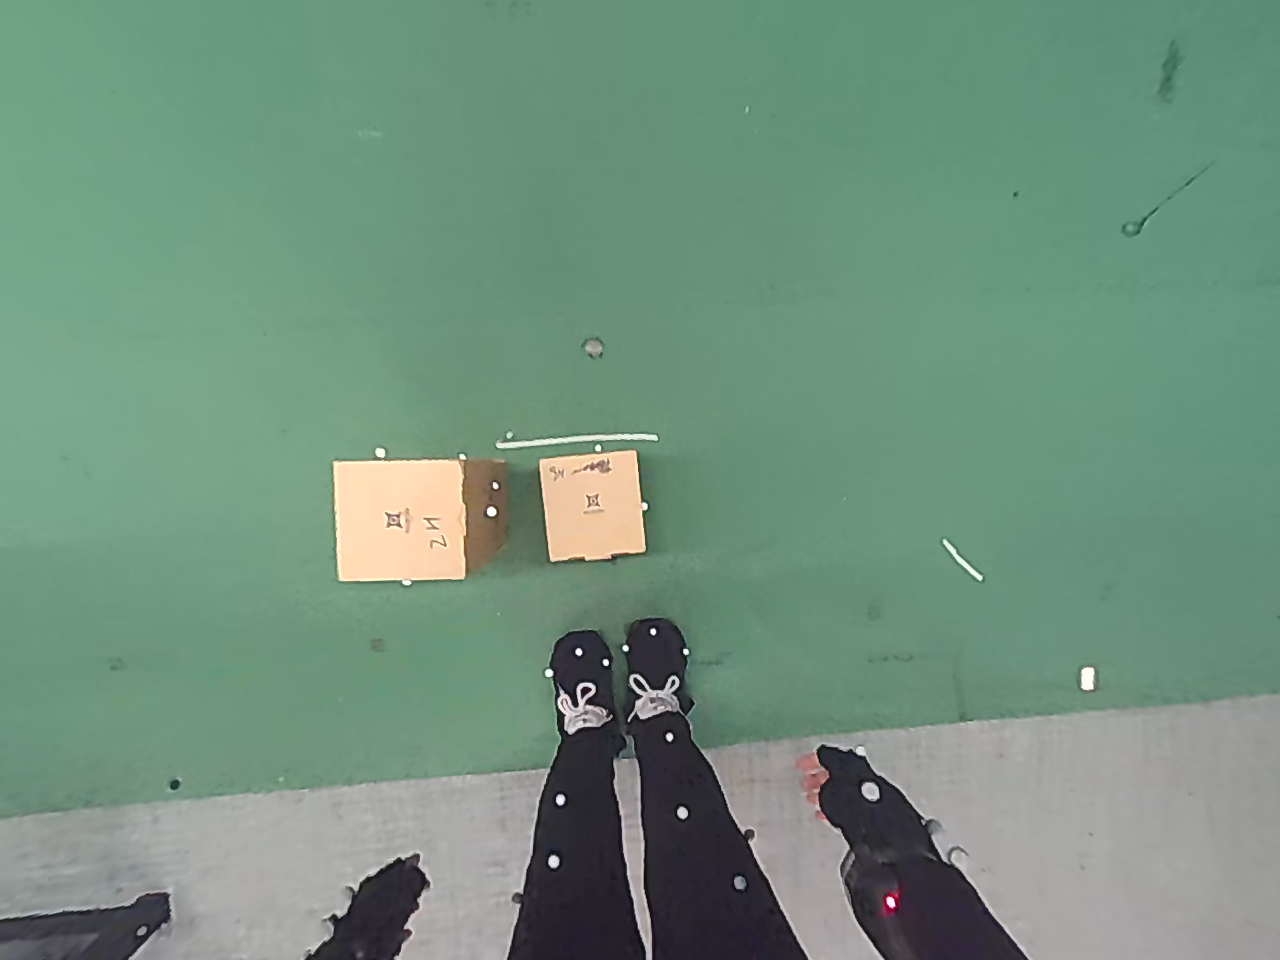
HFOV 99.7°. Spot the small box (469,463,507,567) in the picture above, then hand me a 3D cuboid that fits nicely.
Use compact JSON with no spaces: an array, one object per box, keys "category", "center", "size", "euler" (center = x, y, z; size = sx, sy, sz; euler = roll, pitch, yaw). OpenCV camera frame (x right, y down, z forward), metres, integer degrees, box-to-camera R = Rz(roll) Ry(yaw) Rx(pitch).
[{"category":"small box","center":[-0.341,0.055,0.984],"size":[0.168,0.176,0.179],"euler":[1,92,-2]}]

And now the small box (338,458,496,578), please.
[{"category":"small box","center":[-0.327,0.050,0.820],"size":[0.179,0.176,0.168],"euler":[0,92,-2]}]
